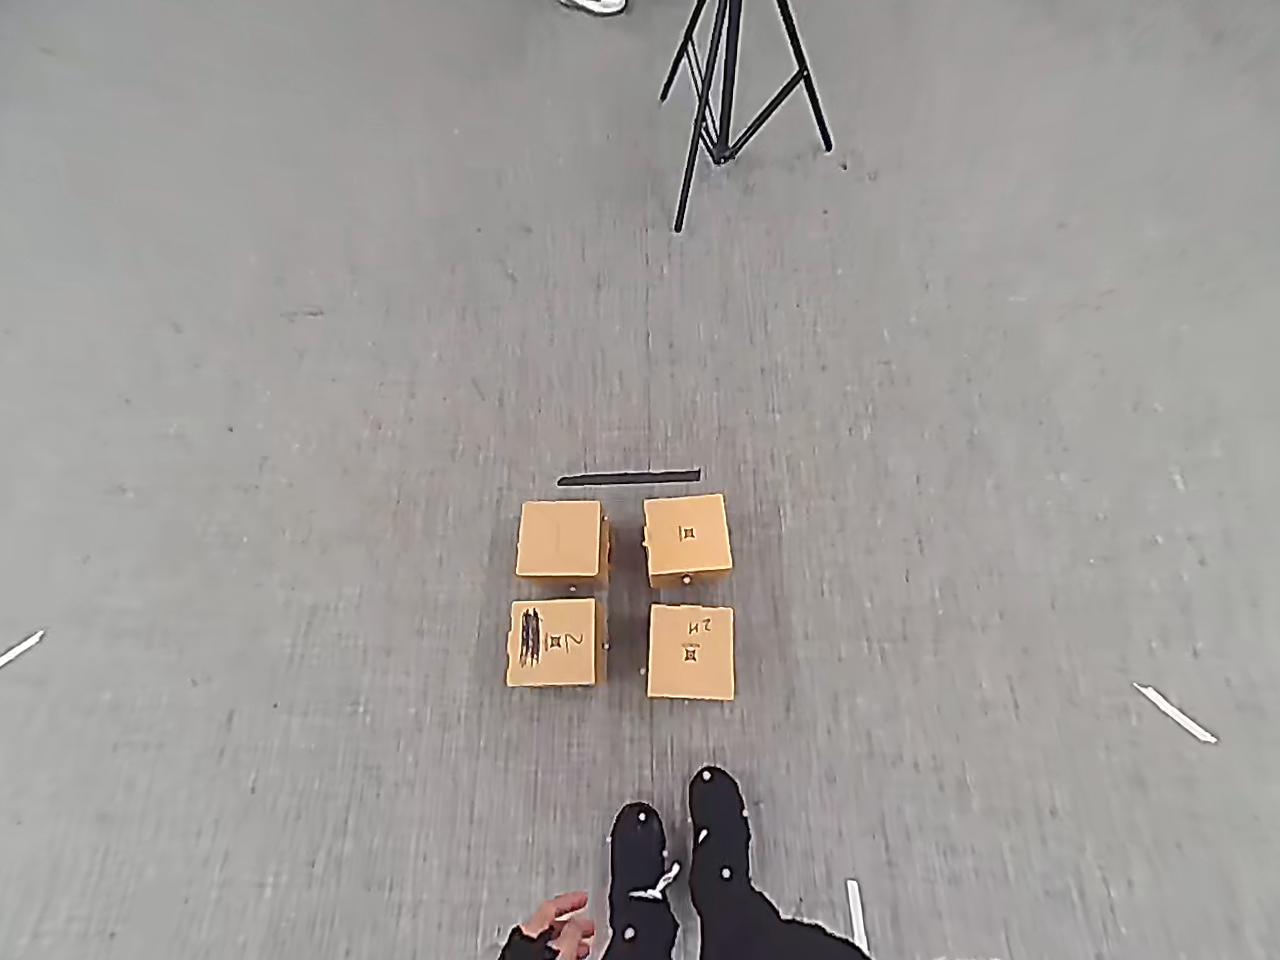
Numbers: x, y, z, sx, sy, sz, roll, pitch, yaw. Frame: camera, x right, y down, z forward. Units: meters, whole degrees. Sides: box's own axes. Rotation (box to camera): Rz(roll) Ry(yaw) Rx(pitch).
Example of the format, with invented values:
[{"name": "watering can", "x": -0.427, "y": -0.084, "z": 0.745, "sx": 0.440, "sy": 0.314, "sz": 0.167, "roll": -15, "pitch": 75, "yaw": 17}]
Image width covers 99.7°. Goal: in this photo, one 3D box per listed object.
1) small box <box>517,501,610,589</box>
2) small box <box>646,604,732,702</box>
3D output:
[{"name": "small box", "x": -0.167, "y": 0.152, "z": 1.230, "sx": 0.179, "sy": 0.176, "sz": 0.168, "roll": 0, "pitch": 68, "yaw": 3}, {"name": "small box", "x": 0.103, "y": 0.364, "z": 1.133, "sx": 0.168, "sy": 0.176, "sz": 0.179, "roll": 2, "pitch": 69, "yaw": 3}]
